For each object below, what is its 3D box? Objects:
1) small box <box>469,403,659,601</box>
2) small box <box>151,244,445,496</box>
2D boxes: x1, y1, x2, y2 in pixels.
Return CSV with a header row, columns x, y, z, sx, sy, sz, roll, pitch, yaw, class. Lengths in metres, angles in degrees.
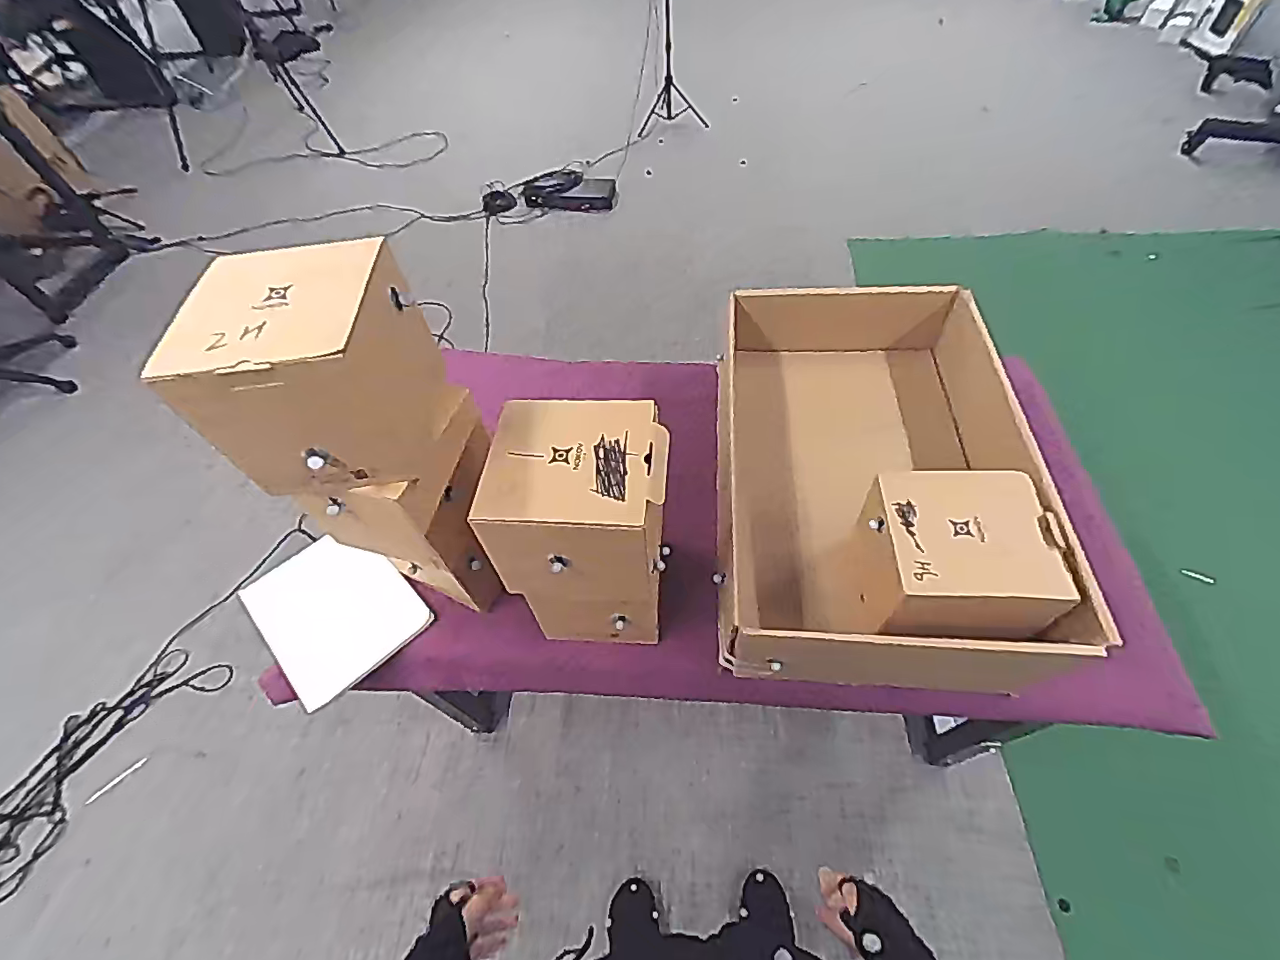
x,y,z,sx,sy,sz,roll,pitch,yaw,class
-0.069,0.030,0.627,0.179,0.176,0.168,2,53,6,small box
-0.311,-0.107,0.543,0.168,0.176,0.179,-7,54,1,small box
